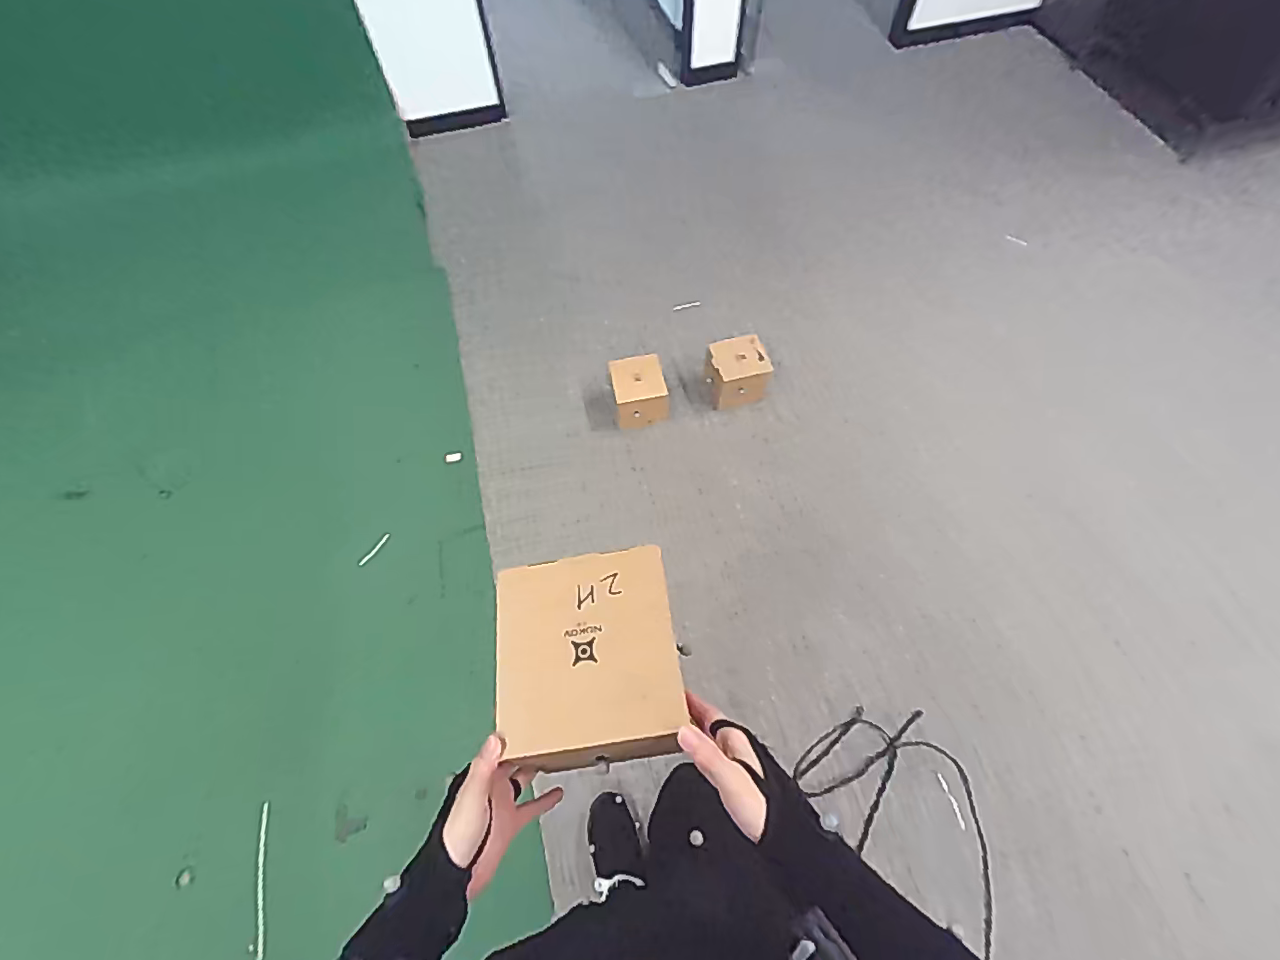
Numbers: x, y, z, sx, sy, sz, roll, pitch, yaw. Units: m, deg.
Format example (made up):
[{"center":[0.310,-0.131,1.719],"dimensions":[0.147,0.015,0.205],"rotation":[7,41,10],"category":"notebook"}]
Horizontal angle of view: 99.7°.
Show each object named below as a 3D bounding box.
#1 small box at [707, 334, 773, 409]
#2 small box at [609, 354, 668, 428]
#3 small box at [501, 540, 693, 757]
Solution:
[{"center":[0.331,-0.365,1.840],"dimensions":[0.179,0.176,0.168],"rotation":[-14,63,-5],"category":"small box"},{"center":[-0.003,-0.290,1.813],"dimensions":[0.168,0.176,0.179],"rotation":[-11,62,-4],"category":"small box"},{"center":[-0.038,0.186,0.570],"dimensions":[0.168,0.176,0.179],"rotation":[-8,57,2],"category":"small box"}]
